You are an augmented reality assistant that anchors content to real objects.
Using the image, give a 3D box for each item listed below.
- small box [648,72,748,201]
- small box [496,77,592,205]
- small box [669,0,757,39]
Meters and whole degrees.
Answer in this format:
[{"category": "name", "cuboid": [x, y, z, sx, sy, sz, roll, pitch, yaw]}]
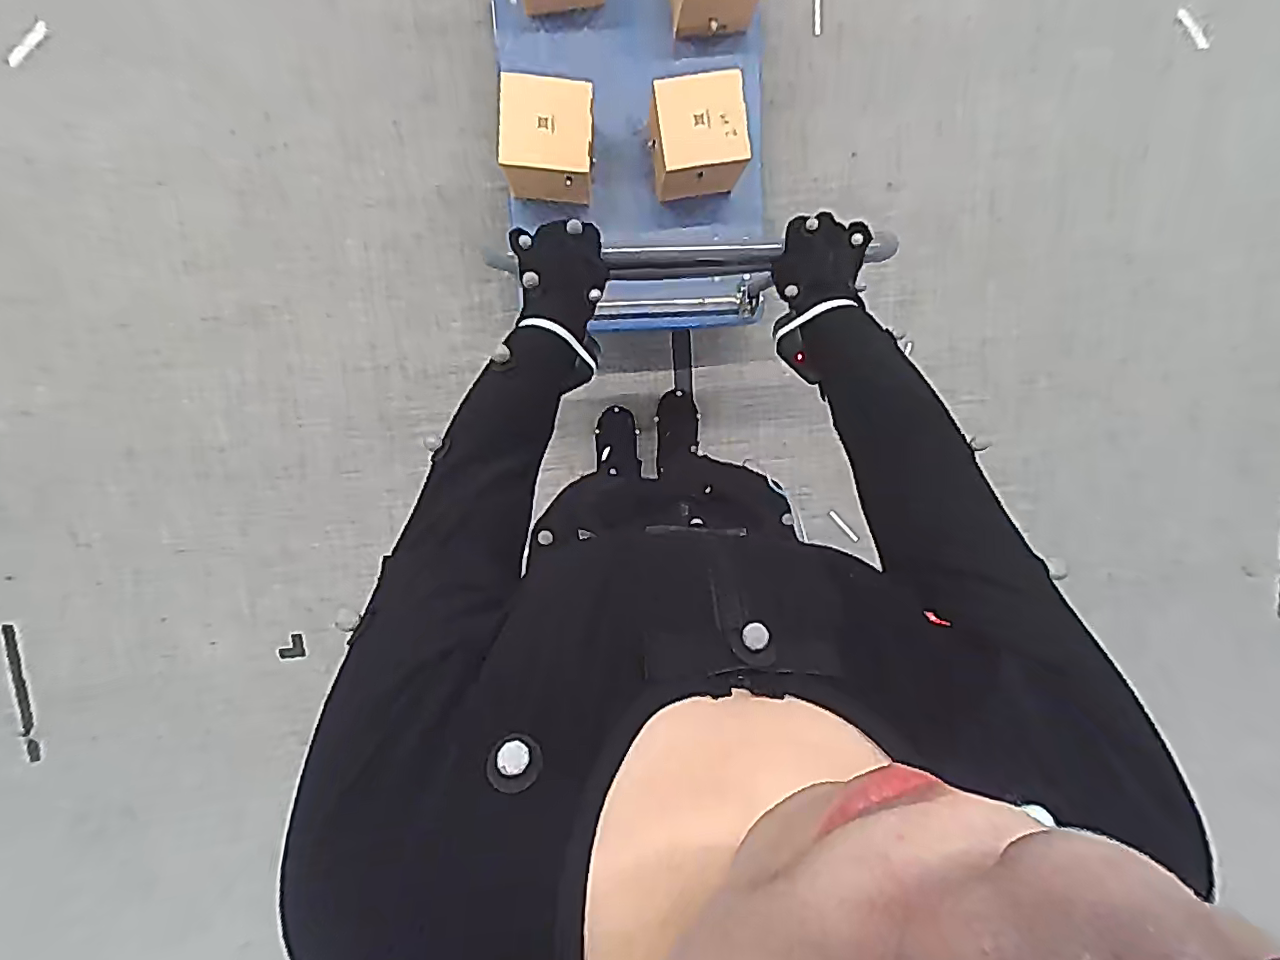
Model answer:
[{"category": "small box", "cuboid": [0.113, -0.703, 1.128, 0.179, 0.176, 0.168, -10, 99, -2]}, {"category": "small box", "cuboid": [-0.190, -0.683, 1.110, 0.179, 0.176, 0.168, 2, 98, -6]}, {"category": "small box", "cuboid": [0.145, -1.036, 1.081, 0.168, 0.176, 0.179, -8, 100, -2]}]
